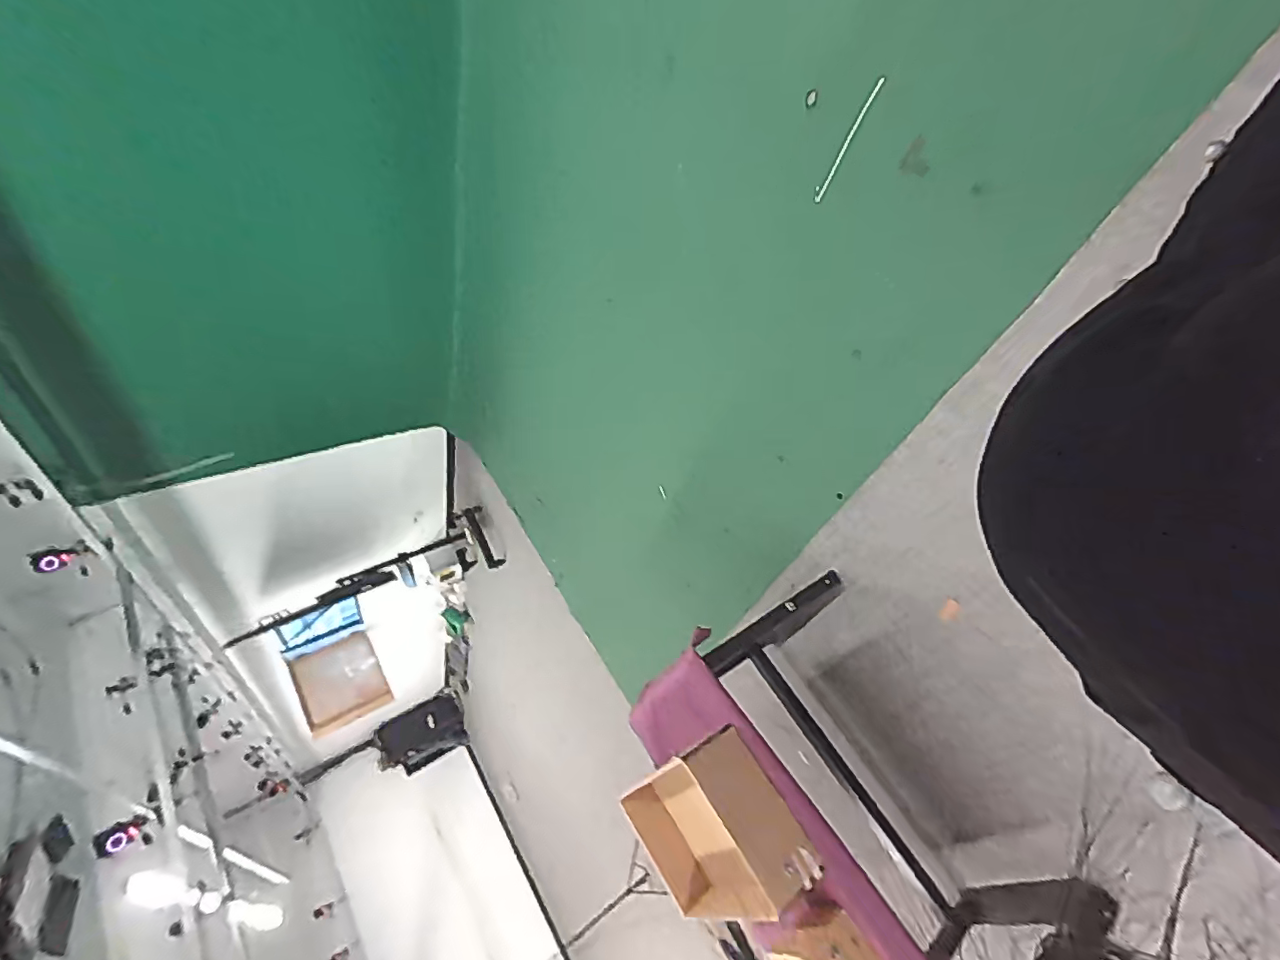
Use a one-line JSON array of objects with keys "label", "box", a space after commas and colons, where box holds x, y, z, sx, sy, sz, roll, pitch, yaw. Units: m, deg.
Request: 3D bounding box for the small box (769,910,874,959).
[{"label": "small box", "box": [0.452, 1.178, 1.301, 0.168, 0.176, 0.179, 54, 145, 23]}]
